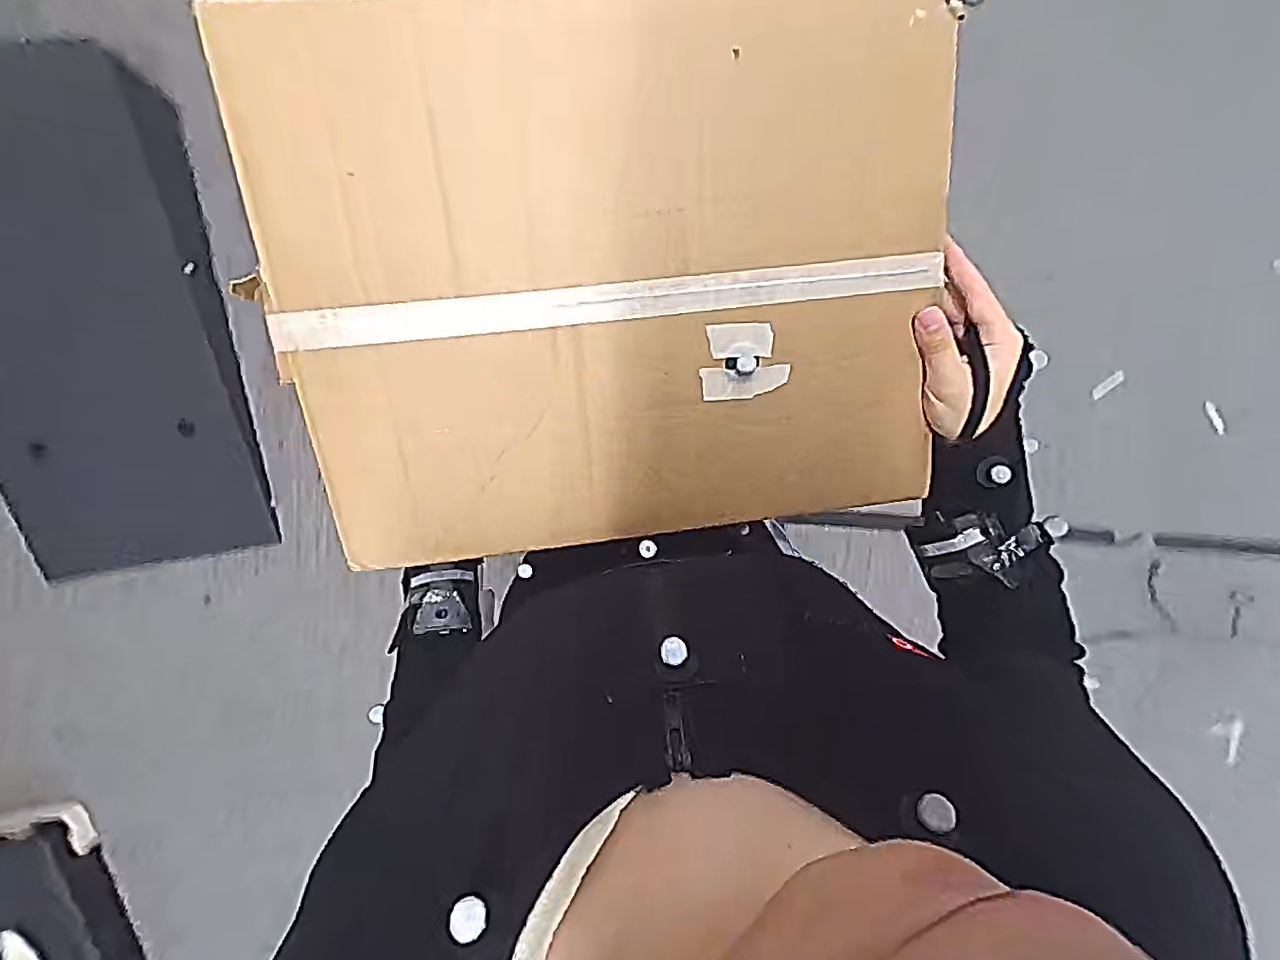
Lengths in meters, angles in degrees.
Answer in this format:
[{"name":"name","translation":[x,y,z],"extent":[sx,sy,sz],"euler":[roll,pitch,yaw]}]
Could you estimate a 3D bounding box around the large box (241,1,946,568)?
[{"name":"large box","translation":[-0.021,-0.151,0.482],"extent":[0.408,0.320,0.320],"euler":[-7,108,-6]}]
